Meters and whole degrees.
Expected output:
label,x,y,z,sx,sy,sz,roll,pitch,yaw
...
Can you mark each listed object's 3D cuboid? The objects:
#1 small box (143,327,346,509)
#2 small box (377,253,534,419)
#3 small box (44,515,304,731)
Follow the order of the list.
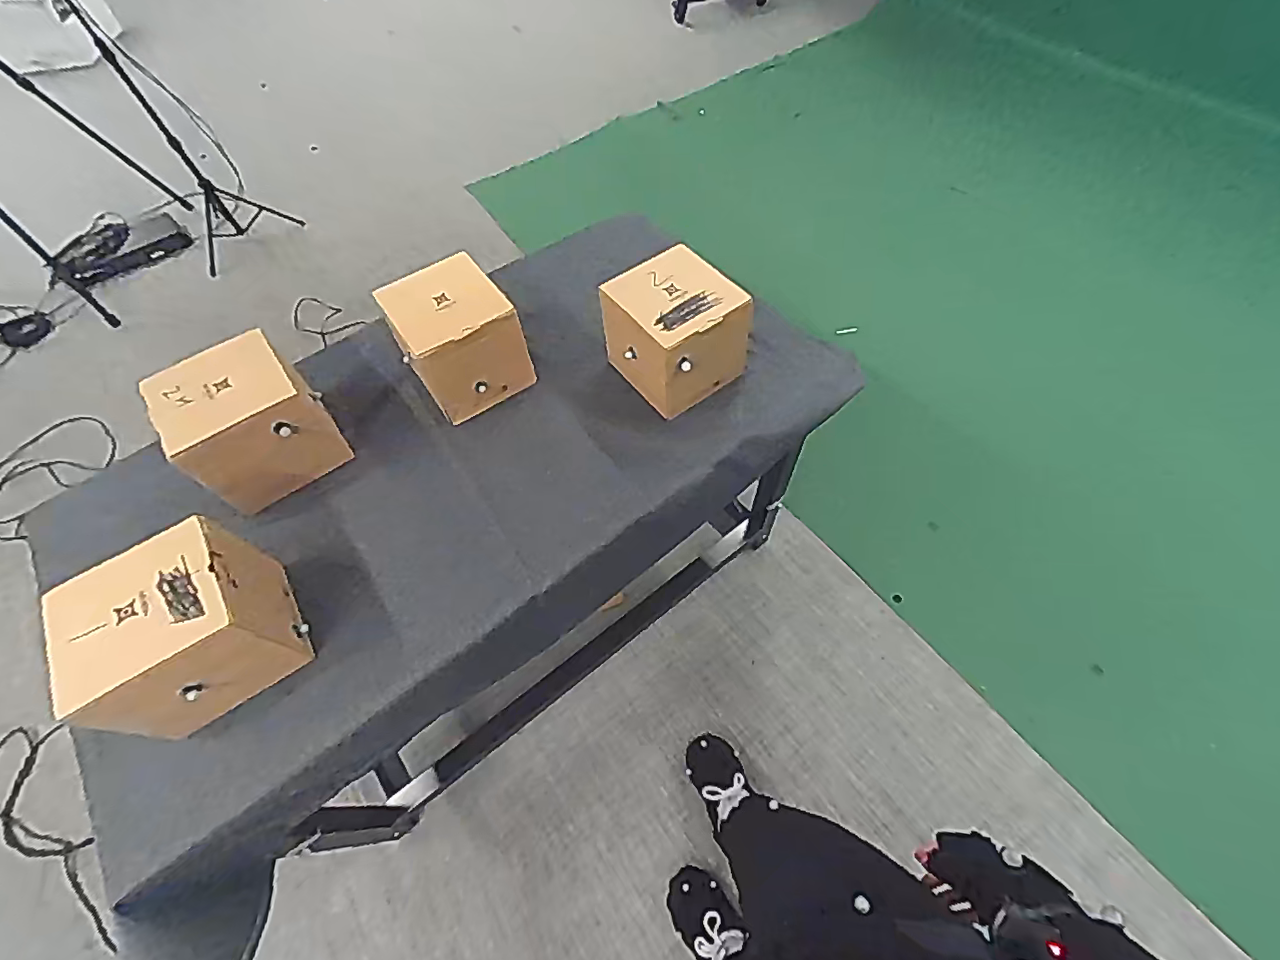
label,x,y,z,sx,sy,sz,roll,pitch,yaw
small box,-0.582,-0.090,0.821,0.179,0.176,0.168,-34,65,-16
small box,-0.299,-0.235,0.902,0.168,0.176,0.179,-33,65,-16
small box,-0.550,0.180,0.663,0.179,0.176,0.168,-32,63,-15
